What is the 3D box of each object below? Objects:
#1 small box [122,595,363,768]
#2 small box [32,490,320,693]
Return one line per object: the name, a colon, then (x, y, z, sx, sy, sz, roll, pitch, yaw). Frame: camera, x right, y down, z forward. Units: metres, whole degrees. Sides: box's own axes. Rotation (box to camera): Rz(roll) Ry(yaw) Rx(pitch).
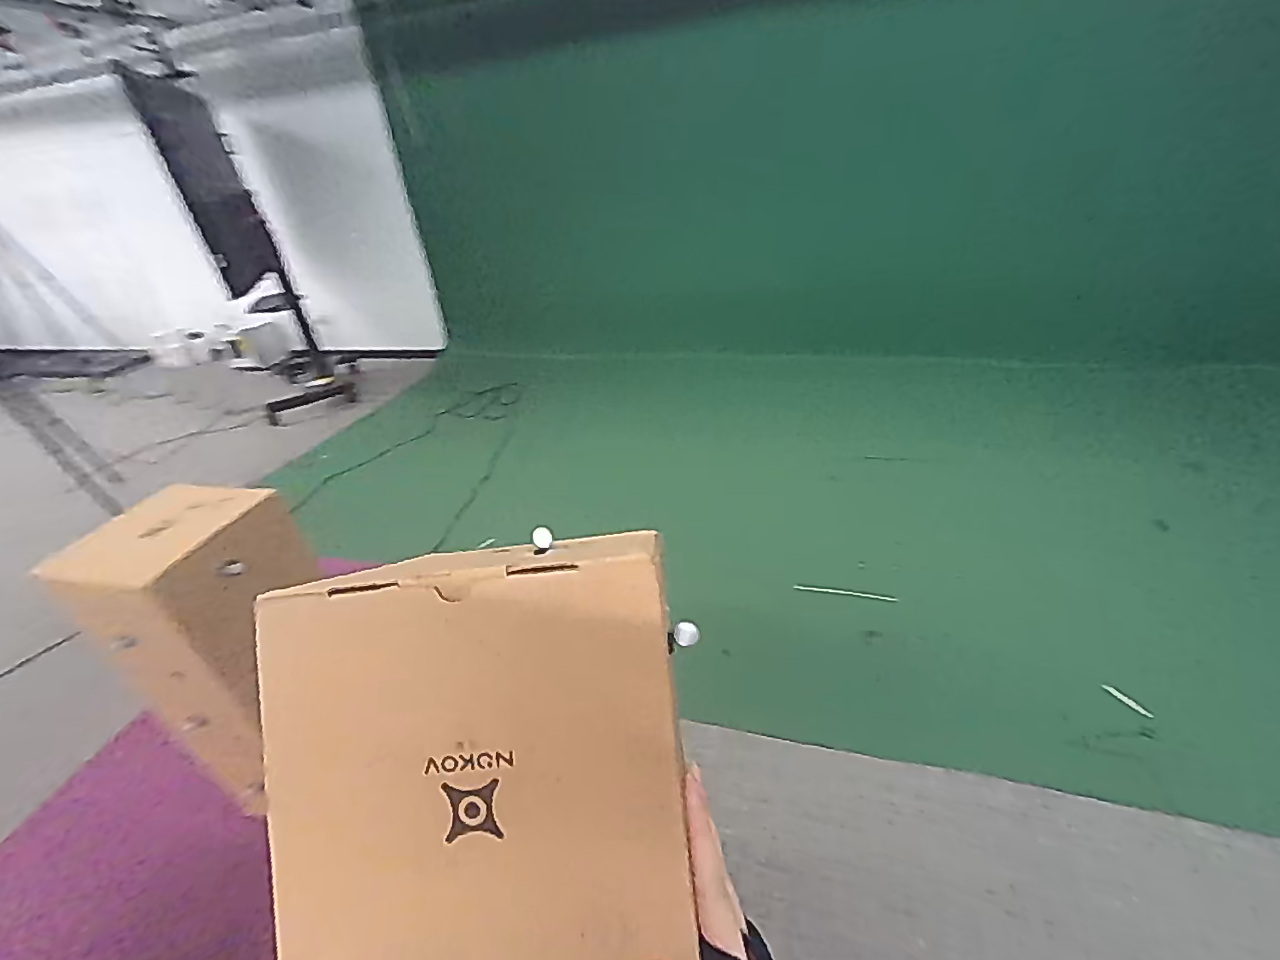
small box: (-0.527, 0.271, 0.749, 0.179, 0.176, 0.168, 1, 33, 14)
small box: (-0.539, 0.132, 0.661, 0.168, 0.176, 0.179, 3, 33, 13)
